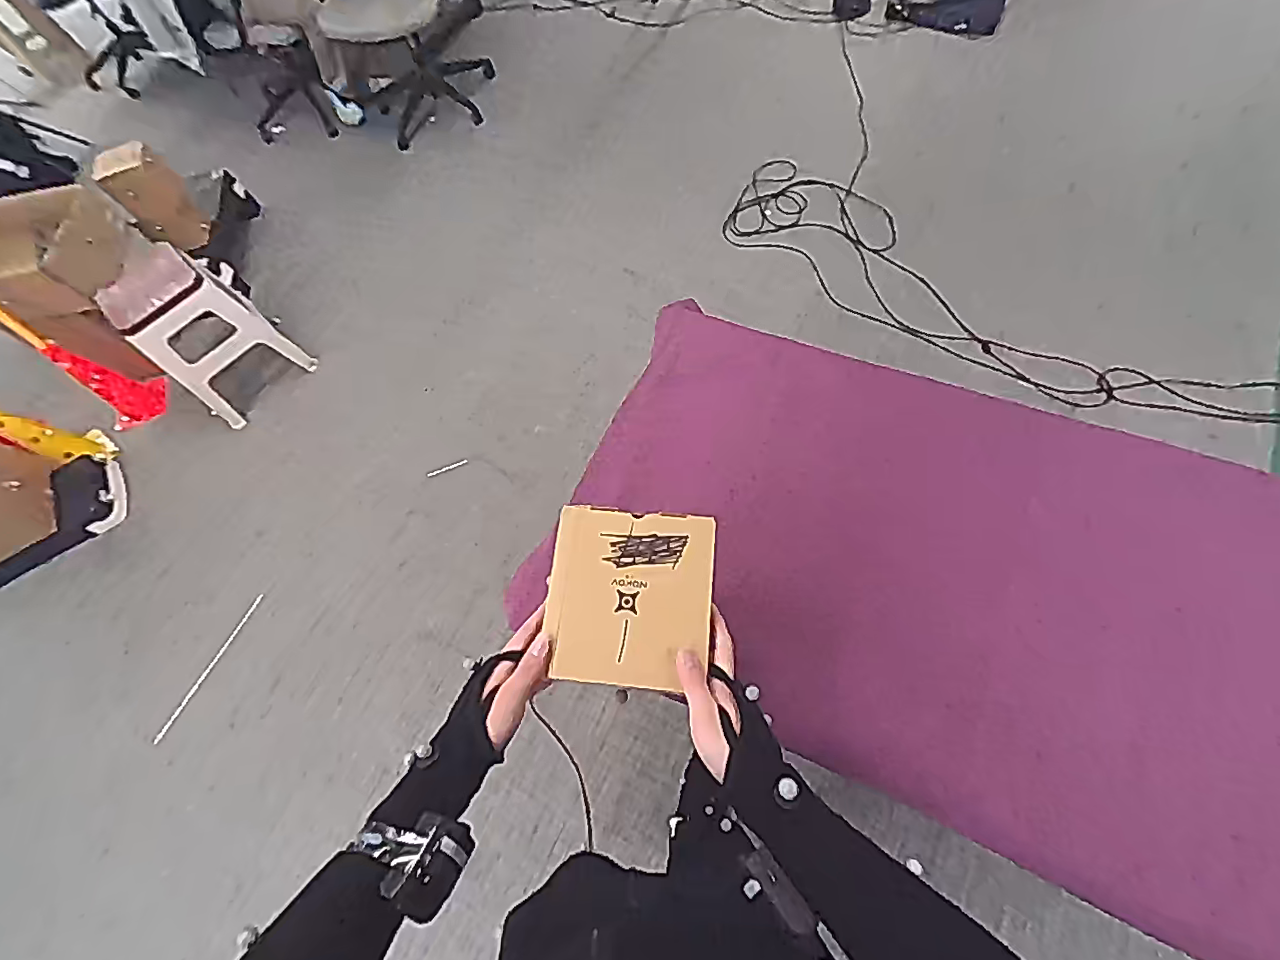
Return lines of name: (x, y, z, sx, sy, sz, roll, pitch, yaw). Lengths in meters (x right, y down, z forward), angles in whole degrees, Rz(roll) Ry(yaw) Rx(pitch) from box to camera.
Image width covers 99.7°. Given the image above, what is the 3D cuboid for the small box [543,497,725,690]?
small box: (0.000, 0.135, 0.613, 0.168, 0.176, 0.179, 5, 69, 5)
